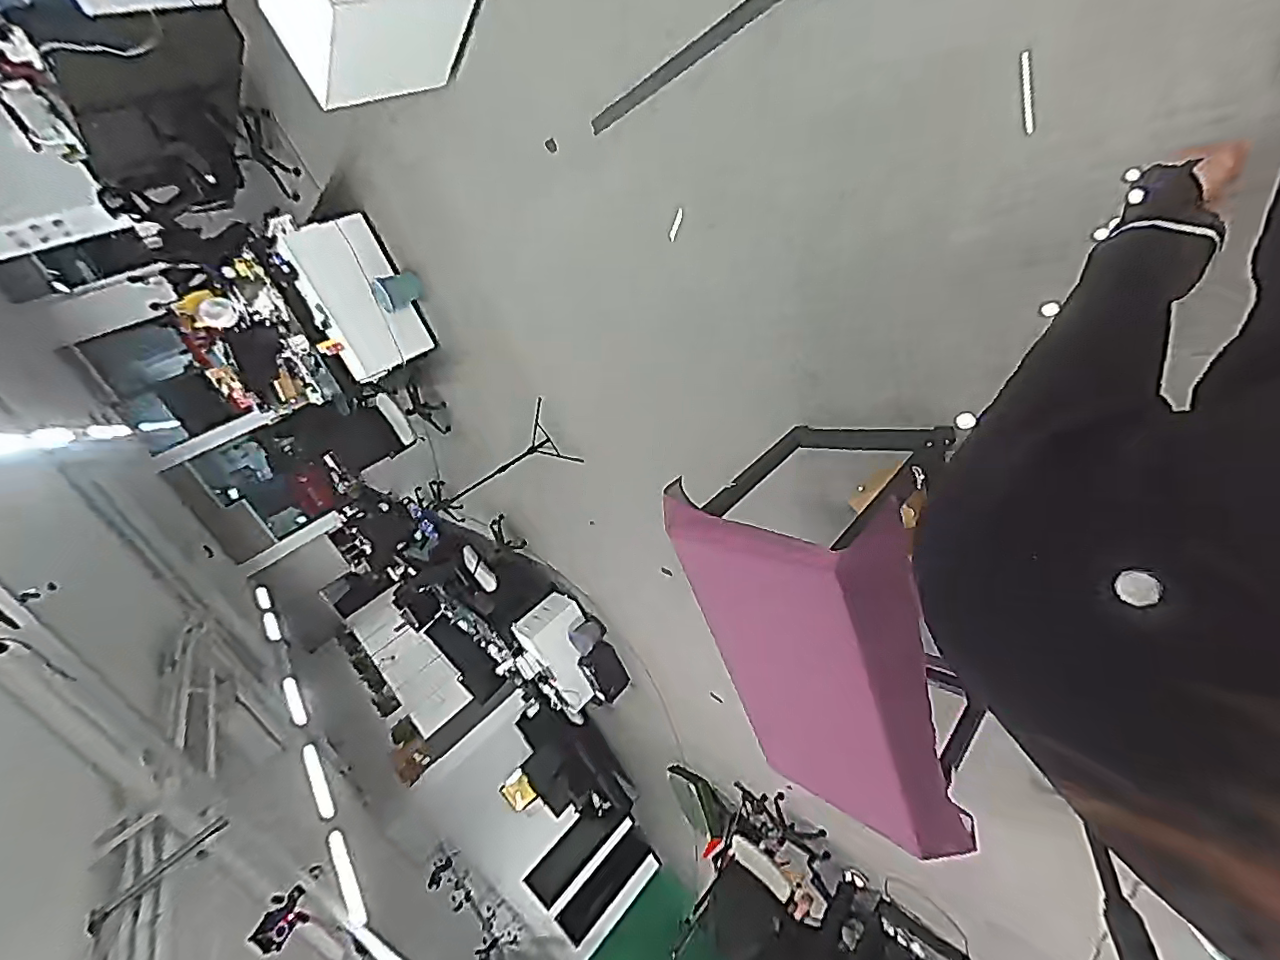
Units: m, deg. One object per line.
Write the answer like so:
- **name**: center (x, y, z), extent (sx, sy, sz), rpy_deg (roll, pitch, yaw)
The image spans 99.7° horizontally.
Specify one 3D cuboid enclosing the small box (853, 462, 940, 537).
- **small box**: center (0.878, 0.066, 1.849), extent (0.168, 0.176, 0.179), rpy_deg (51, 151, 2)
